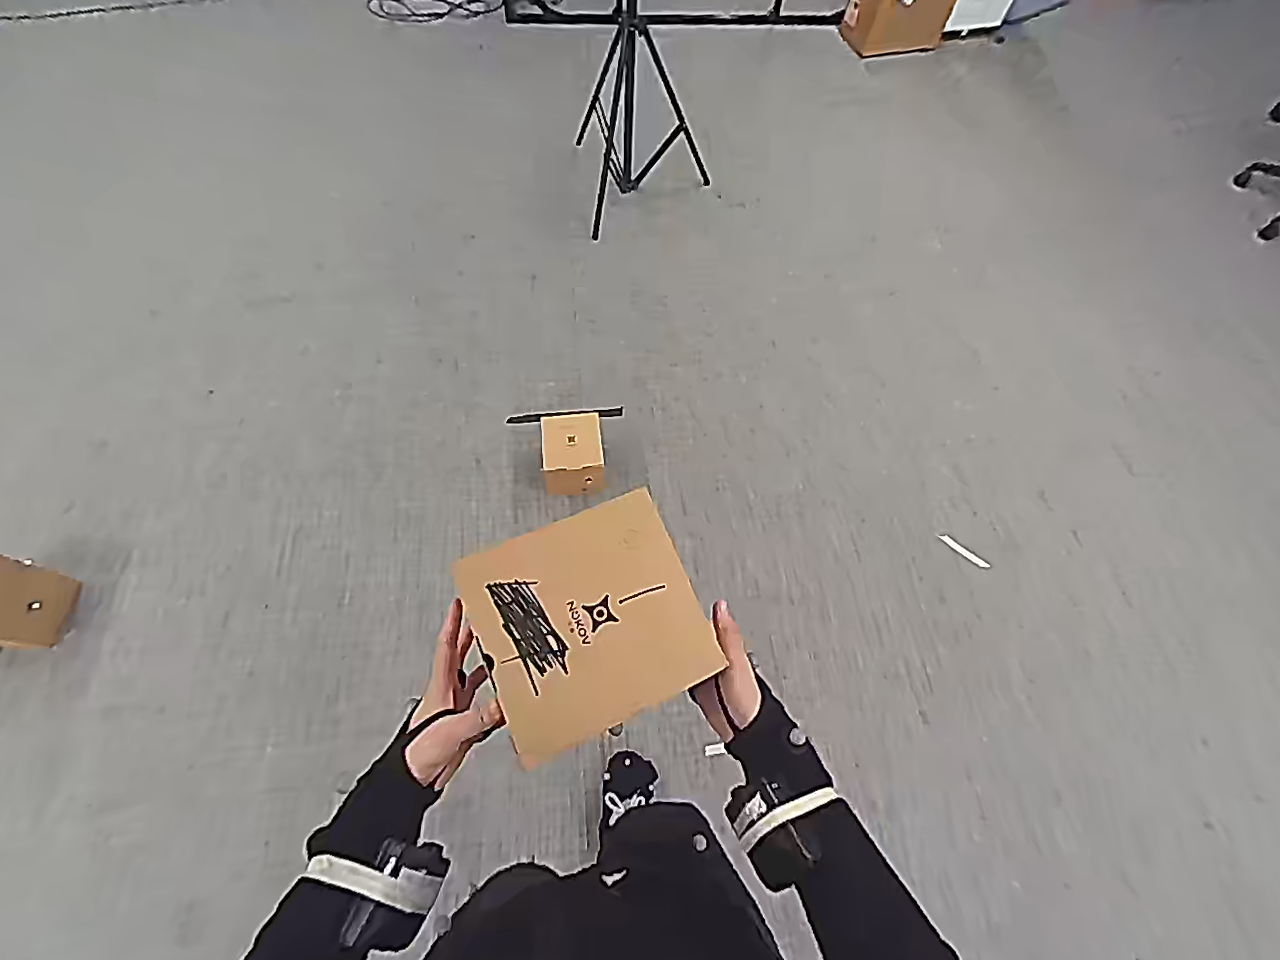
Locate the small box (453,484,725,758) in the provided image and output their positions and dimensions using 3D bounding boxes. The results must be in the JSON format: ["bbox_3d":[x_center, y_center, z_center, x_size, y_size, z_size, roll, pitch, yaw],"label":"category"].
[{"bbox_3d":[-0.050,0.128,0.509,0.179,0.176,0.168,-22,78,-14],"label":"small box"}]

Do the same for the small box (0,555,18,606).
[{"bbox_3d":[-1.524,0.230,1.159,0.168,0.176,0.179,-1,64,-2],"label":"small box"}]

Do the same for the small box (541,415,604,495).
[{"bbox_3d":[-0.193,-0.066,1.567,0.168,0.176,0.179,-6,62,-7],"label":"small box"}]
